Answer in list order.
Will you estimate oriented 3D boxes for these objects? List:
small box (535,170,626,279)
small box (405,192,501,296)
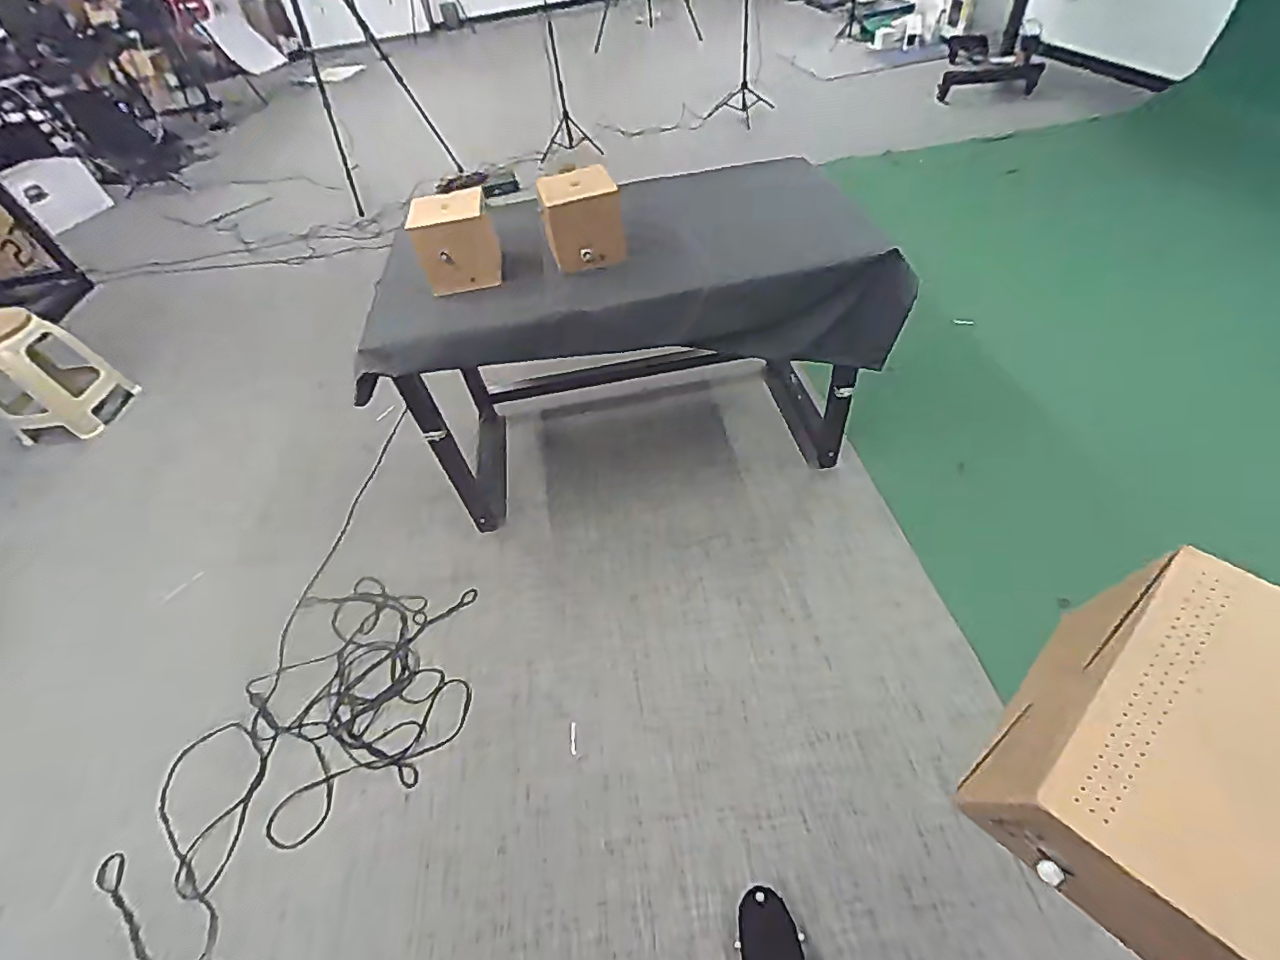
[{"bbox_3d":[-0.140,-0.609,1.291,0.168,0.176,0.179,-17,49,-5],"label":"small box"},{"bbox_3d":[-0.435,-0.553,1.283,0.168,0.176,0.179,-12,47,-3],"label":"small box"}]
